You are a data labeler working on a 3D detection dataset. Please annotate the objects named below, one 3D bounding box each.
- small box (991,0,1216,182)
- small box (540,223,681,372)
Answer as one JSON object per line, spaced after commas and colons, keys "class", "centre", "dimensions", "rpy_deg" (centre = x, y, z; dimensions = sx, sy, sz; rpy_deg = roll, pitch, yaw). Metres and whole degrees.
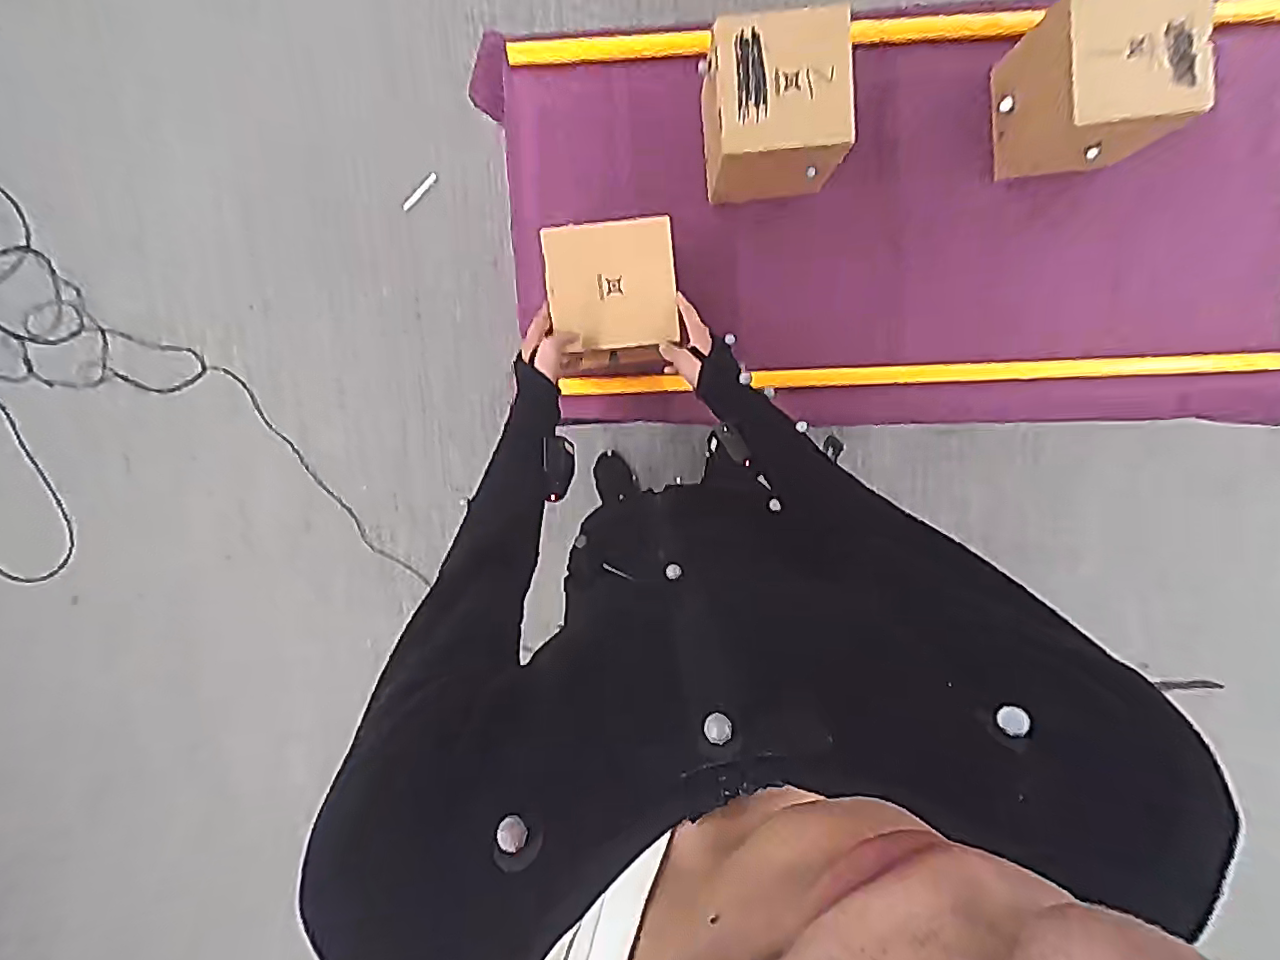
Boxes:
{"class": "small box", "centre": [0.628, -0.541, 0.751], "dimensions": [0.179, 0.176, 0.168], "rpy_deg": [-6, 96, 3]}
{"class": "small box", "centre": [-0.038, -0.257, 0.797], "dimensions": [0.179, 0.176, 0.168], "rpy_deg": [-6, 94, 2]}
